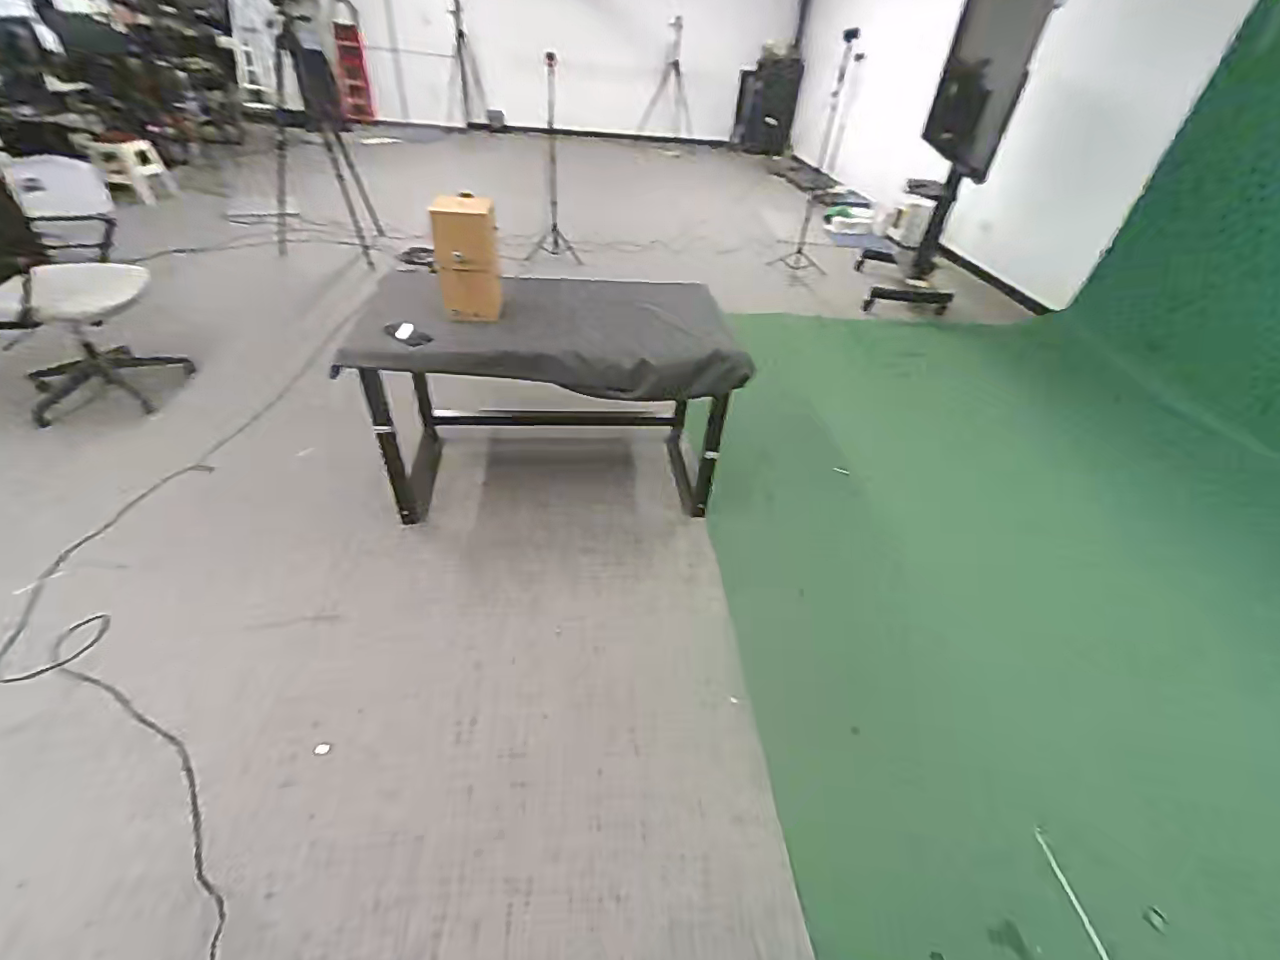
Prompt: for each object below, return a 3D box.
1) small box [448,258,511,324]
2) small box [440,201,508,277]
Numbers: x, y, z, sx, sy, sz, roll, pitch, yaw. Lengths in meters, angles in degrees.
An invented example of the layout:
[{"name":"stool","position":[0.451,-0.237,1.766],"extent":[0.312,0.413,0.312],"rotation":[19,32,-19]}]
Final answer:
[{"name":"small box","position":[-0.520,-0.624,1.777],"extent":[0.168,0.176,0.179],"rotation":[1,39,-6]},{"name":"small box","position":[-0.505,-0.745,1.670],"extent":[0.168,0.176,0.179],"rotation":[0,41,-6]}]
